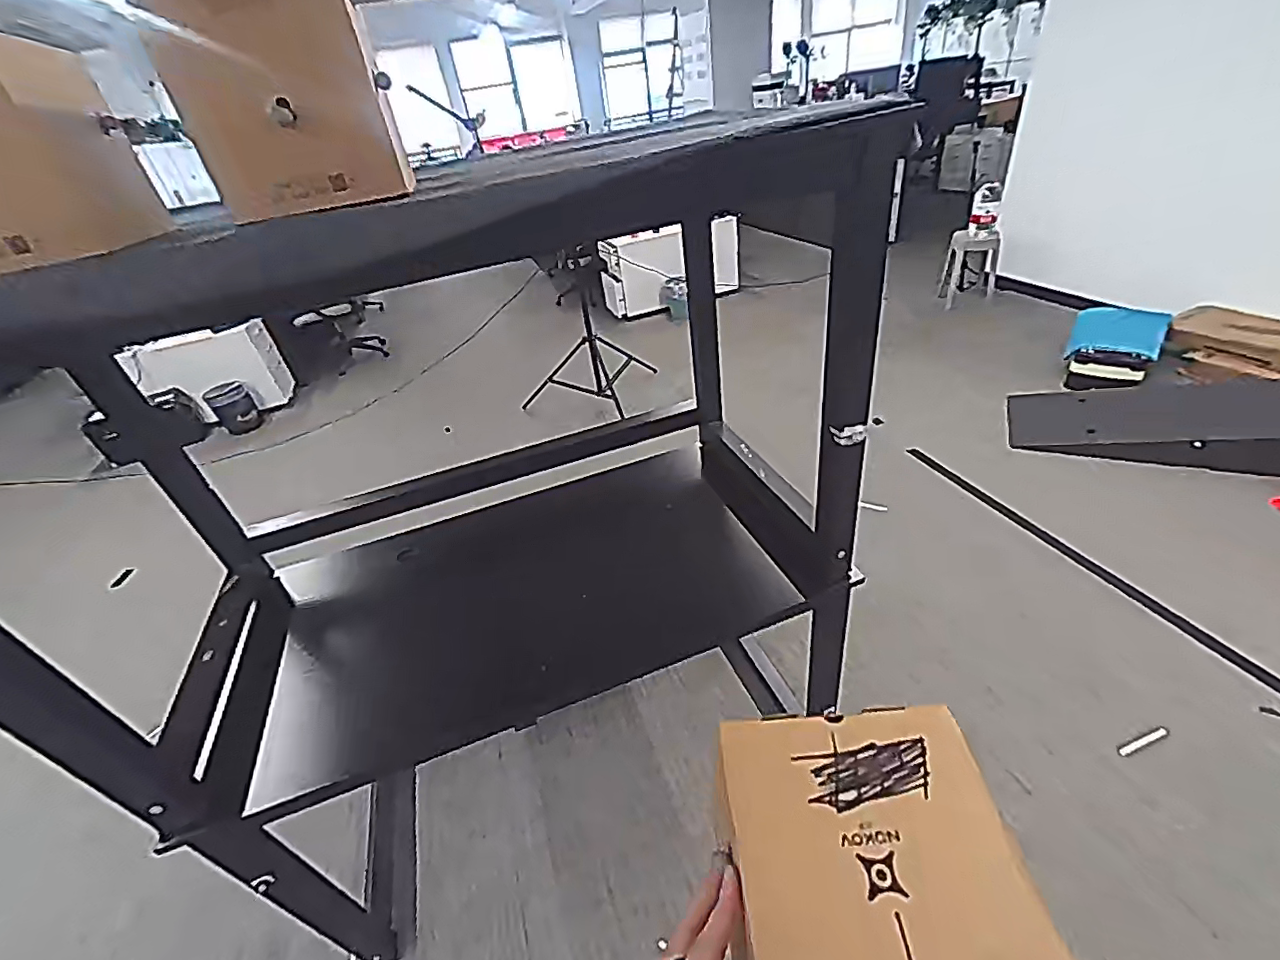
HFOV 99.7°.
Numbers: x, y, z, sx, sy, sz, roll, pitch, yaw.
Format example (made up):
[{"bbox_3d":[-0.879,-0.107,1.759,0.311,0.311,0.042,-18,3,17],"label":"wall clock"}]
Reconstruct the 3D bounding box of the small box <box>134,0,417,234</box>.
[{"bbox_3d":[-0.341,-0.361,0.554,0.168,0.176,0.179,-17,34,-11],"label":"small box"}]

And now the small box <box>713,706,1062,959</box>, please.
[{"bbox_3d":[0.145,0.284,0.381,0.168,0.176,0.179,-5,44,0],"label":"small box"}]
